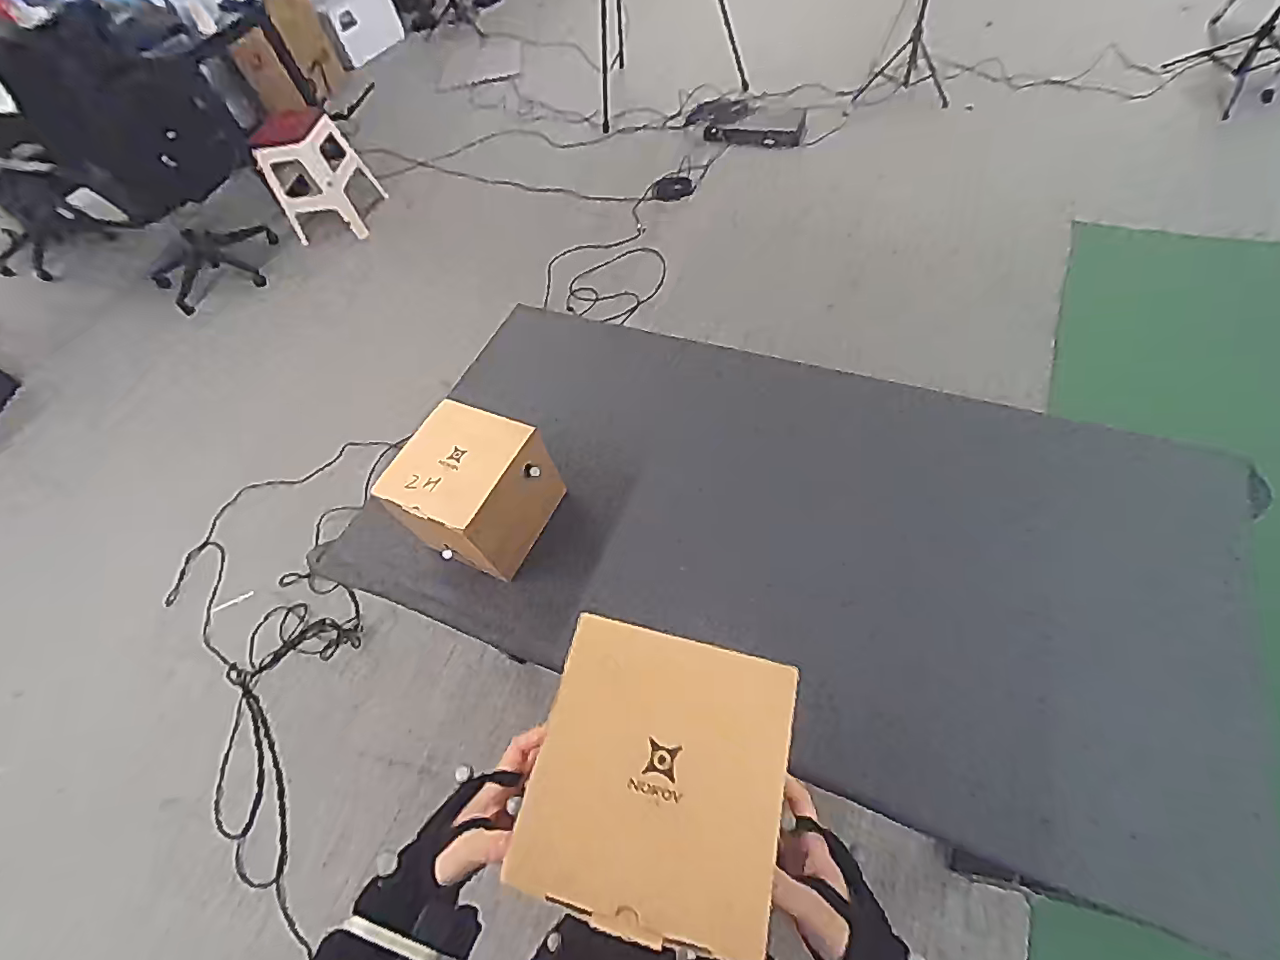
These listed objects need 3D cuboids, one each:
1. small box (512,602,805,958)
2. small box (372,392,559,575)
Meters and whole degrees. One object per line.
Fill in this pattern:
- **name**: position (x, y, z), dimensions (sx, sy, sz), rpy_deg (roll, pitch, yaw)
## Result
- **small box**: position (0.017, 0.220, 0.426), dimensions (0.168, 0.176, 0.179), rpy_deg (13, 62, 5)
- **small box**: position (-0.235, 0.008, 0.786), dimensions (0.168, 0.176, 0.179), rpy_deg (19, 62, 20)
